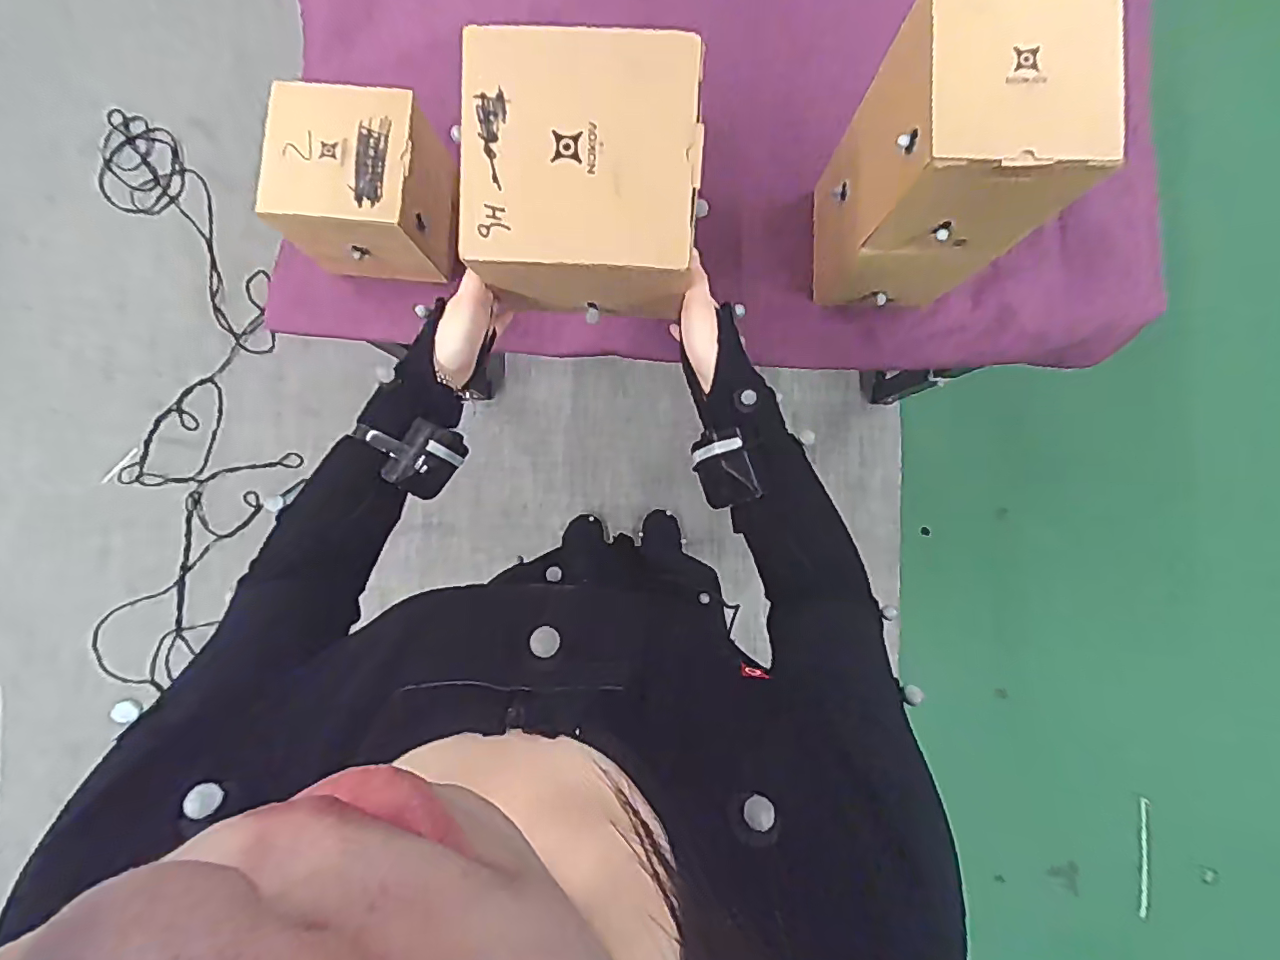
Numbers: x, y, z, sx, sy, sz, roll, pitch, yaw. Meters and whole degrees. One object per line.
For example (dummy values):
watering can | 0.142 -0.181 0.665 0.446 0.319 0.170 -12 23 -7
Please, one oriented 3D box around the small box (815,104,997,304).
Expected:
small box | 0.335 -0.349 0.708 0.168 0.176 0.179 1 89 1

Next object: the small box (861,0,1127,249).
small box | 0.335 -0.358 0.546 0.168 0.176 0.179 0 89 1

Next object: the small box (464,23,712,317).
small box | -0.040 -0.245 0.472 0.179 0.176 0.168 3 94 0
